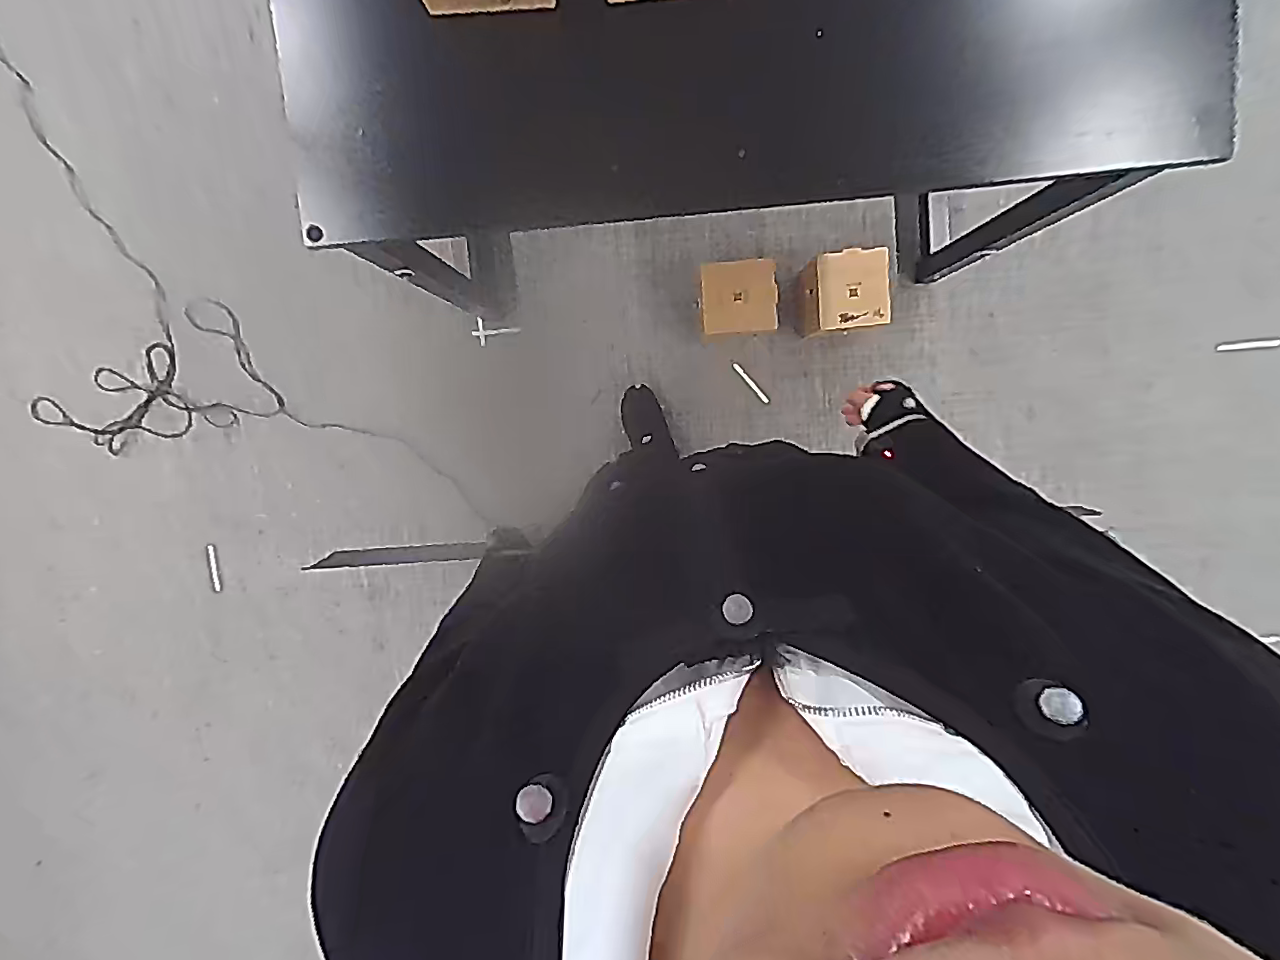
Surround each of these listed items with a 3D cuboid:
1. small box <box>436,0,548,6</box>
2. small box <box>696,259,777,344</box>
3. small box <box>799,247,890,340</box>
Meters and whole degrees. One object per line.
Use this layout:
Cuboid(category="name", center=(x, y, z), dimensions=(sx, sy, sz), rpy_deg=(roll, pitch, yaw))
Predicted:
Cuboid(category="small box", center=(-0.196, -0.677, 0.605), dimensions=(0.168, 0.176, 0.179), rpy_deg=(-2, 97, 2))
Cuboid(category="small box", center=(0.236, -0.440, 1.353), dimensions=(0.179, 0.176, 0.168), rpy_deg=(-5, 96, 4))
Cuboid(category="small box", center=(0.498, -0.455, 1.337), dimensions=(0.168, 0.176, 0.179), rpy_deg=(-5, 96, 4))
